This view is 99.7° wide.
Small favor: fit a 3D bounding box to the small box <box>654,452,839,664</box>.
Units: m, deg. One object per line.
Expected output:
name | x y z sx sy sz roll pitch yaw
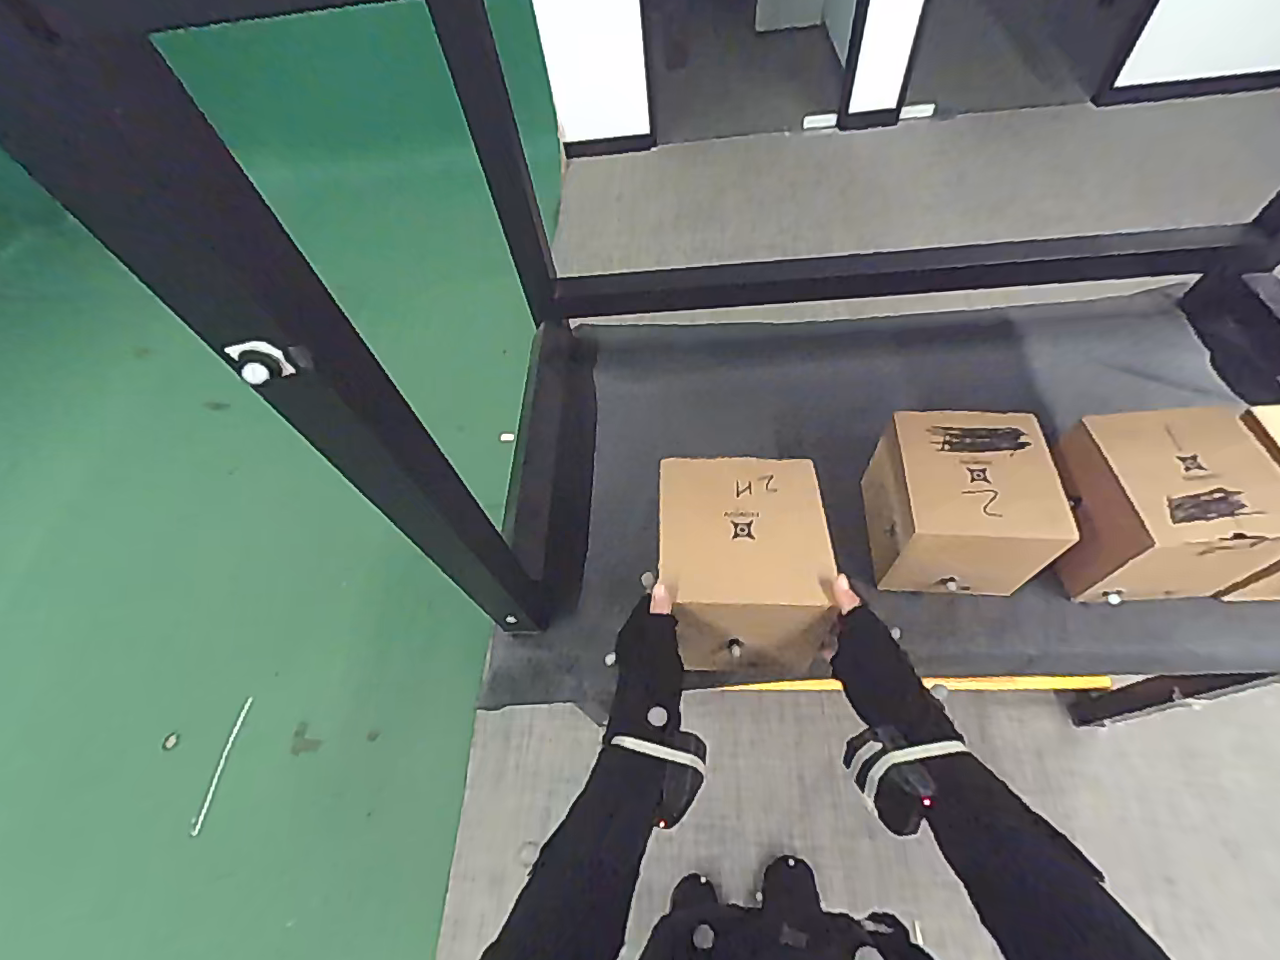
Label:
small box | 0.101 0.089 0.590 0.168 0.176 0.179 1 50 3
